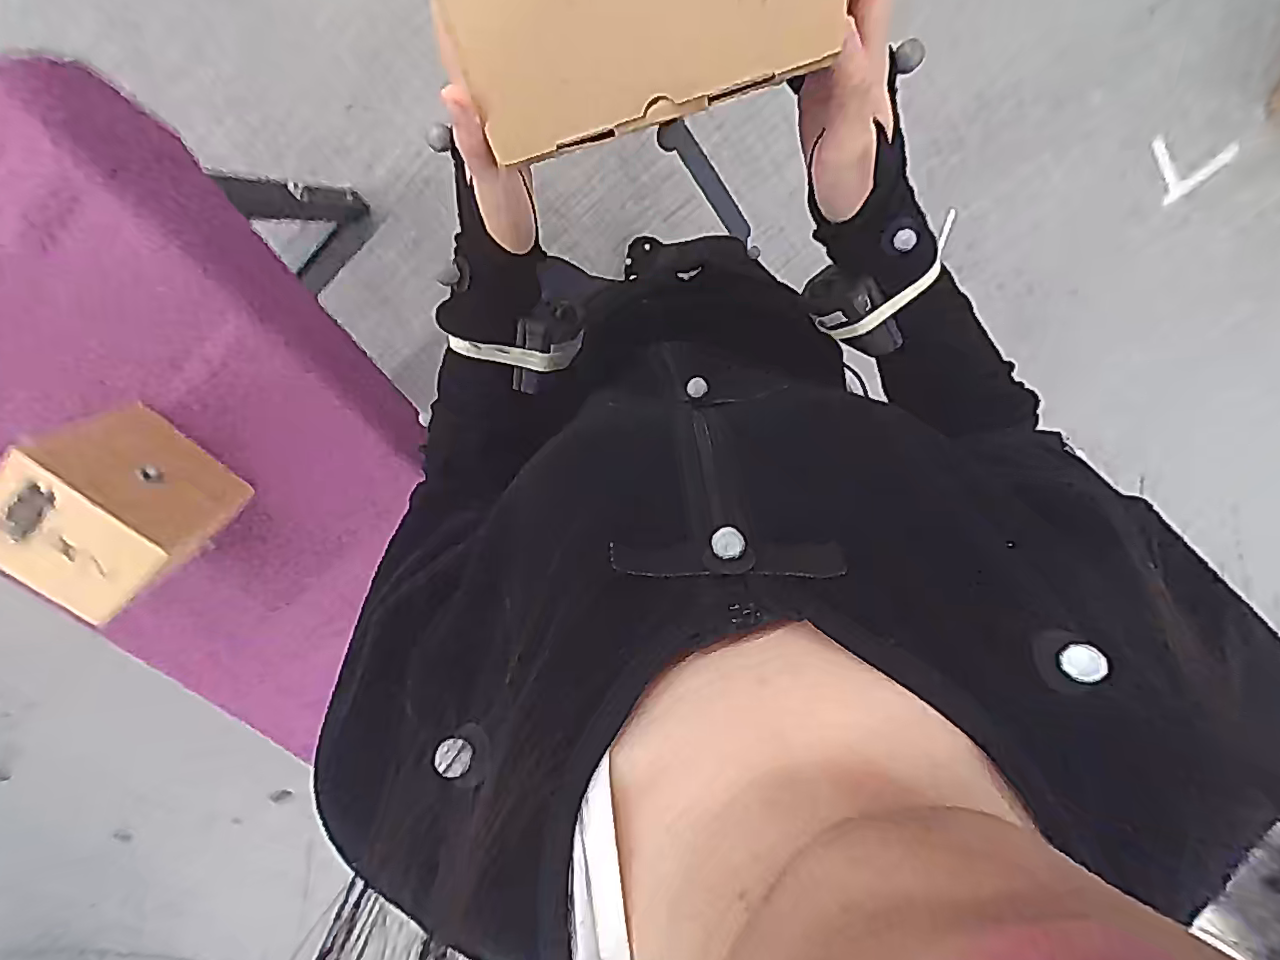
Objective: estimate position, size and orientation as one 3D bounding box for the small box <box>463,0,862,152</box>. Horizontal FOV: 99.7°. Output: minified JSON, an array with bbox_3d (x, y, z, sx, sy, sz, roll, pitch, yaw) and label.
[{"bbox_3d":[0.002,-0.287,0.265,0.168,0.176,0.179,-10,123,11],"label":"small box"}]
